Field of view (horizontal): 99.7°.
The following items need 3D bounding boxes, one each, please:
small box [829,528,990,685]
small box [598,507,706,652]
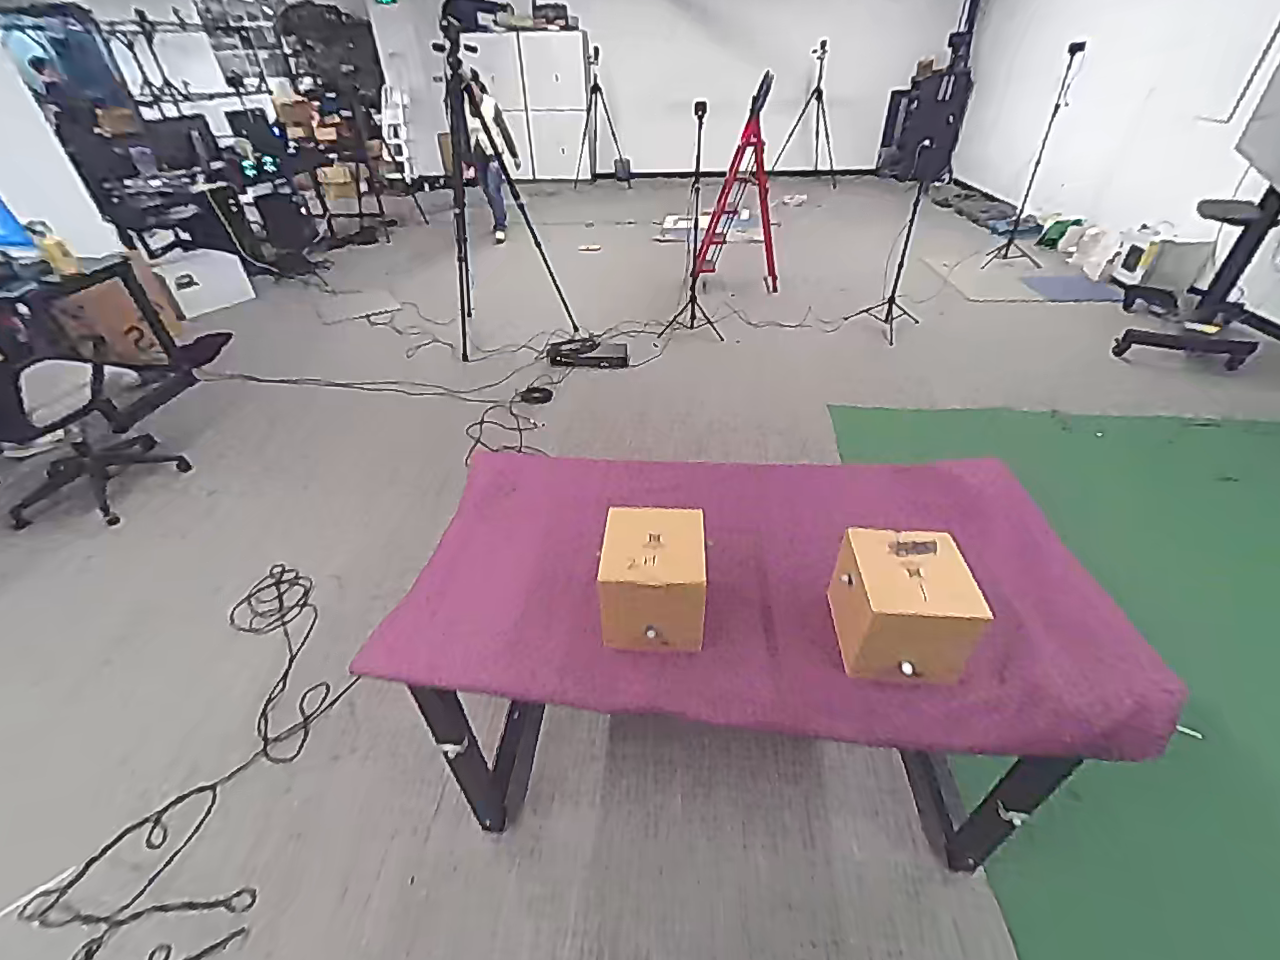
[{"bbox_3d":[0.414,0.200,0.869,0.168,0.176,0.179,2,38,5],"label":"small box"},{"bbox_3d":[0.024,0.166,0.921,0.168,0.176,0.179,1,36,4],"label":"small box"}]
